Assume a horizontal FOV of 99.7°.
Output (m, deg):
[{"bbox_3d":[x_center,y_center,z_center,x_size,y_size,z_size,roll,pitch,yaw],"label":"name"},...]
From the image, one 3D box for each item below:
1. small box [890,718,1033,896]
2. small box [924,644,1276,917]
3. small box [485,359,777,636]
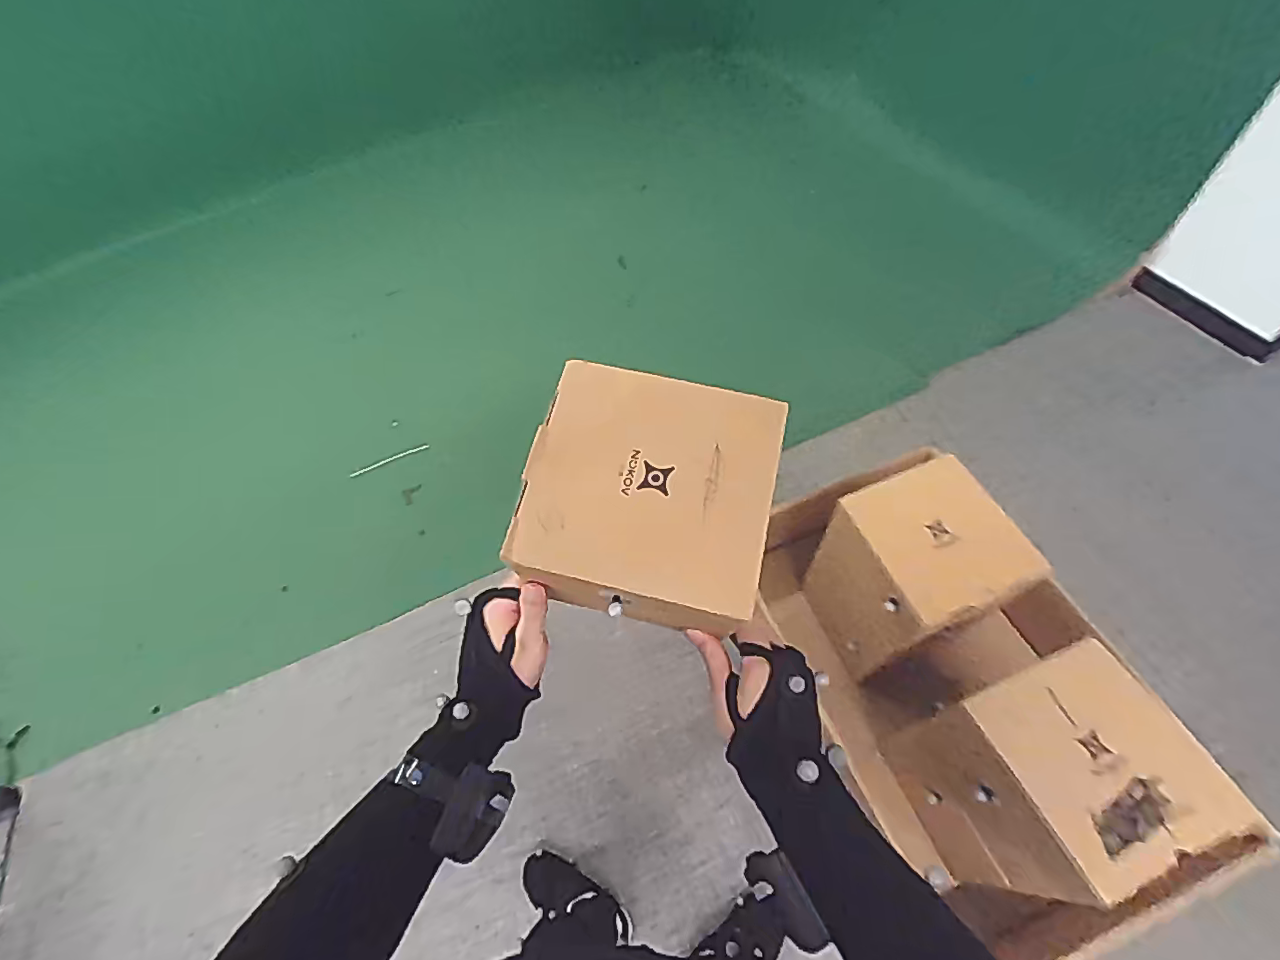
[{"bbox_3d":[0.451,0.392,0.687,0.168,0.176,0.179,-21,56,-6],"label":"small box"},{"bbox_3d":[0.434,0.300,0.552,0.168,0.176,0.179,-21,55,-7],"label":"small box"},{"bbox_3d":[0.000,0.026,0.454,0.179,0.176,0.168,13,70,6],"label":"small box"}]
